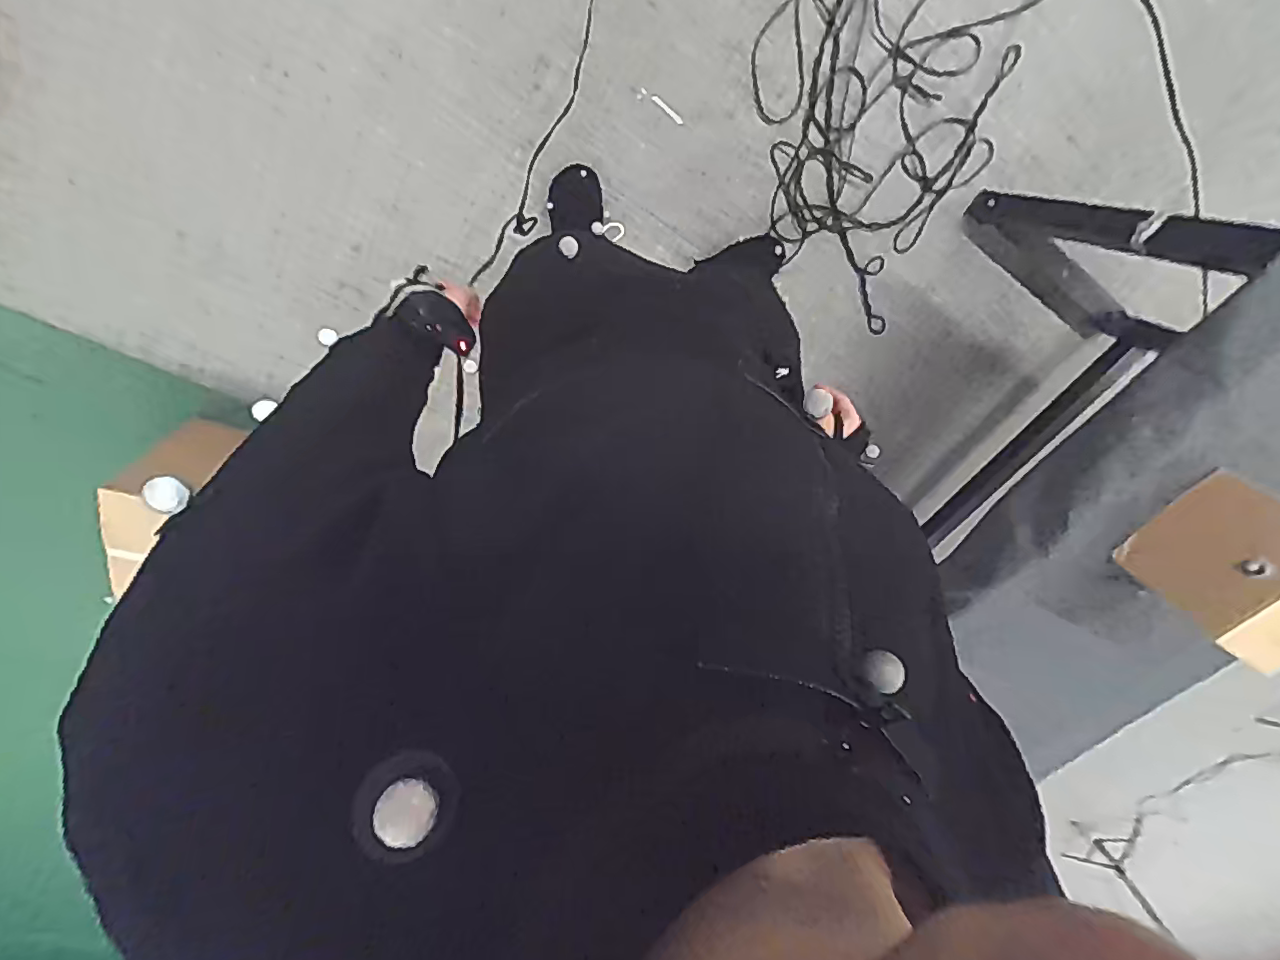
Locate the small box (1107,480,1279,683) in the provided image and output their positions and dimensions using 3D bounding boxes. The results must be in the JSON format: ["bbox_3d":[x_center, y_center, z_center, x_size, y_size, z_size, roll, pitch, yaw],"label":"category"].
[{"bbox_3d":[0.796,0.130,0.720,0.168,0.176,0.179,27,116,-21],"label":"small box"}]
